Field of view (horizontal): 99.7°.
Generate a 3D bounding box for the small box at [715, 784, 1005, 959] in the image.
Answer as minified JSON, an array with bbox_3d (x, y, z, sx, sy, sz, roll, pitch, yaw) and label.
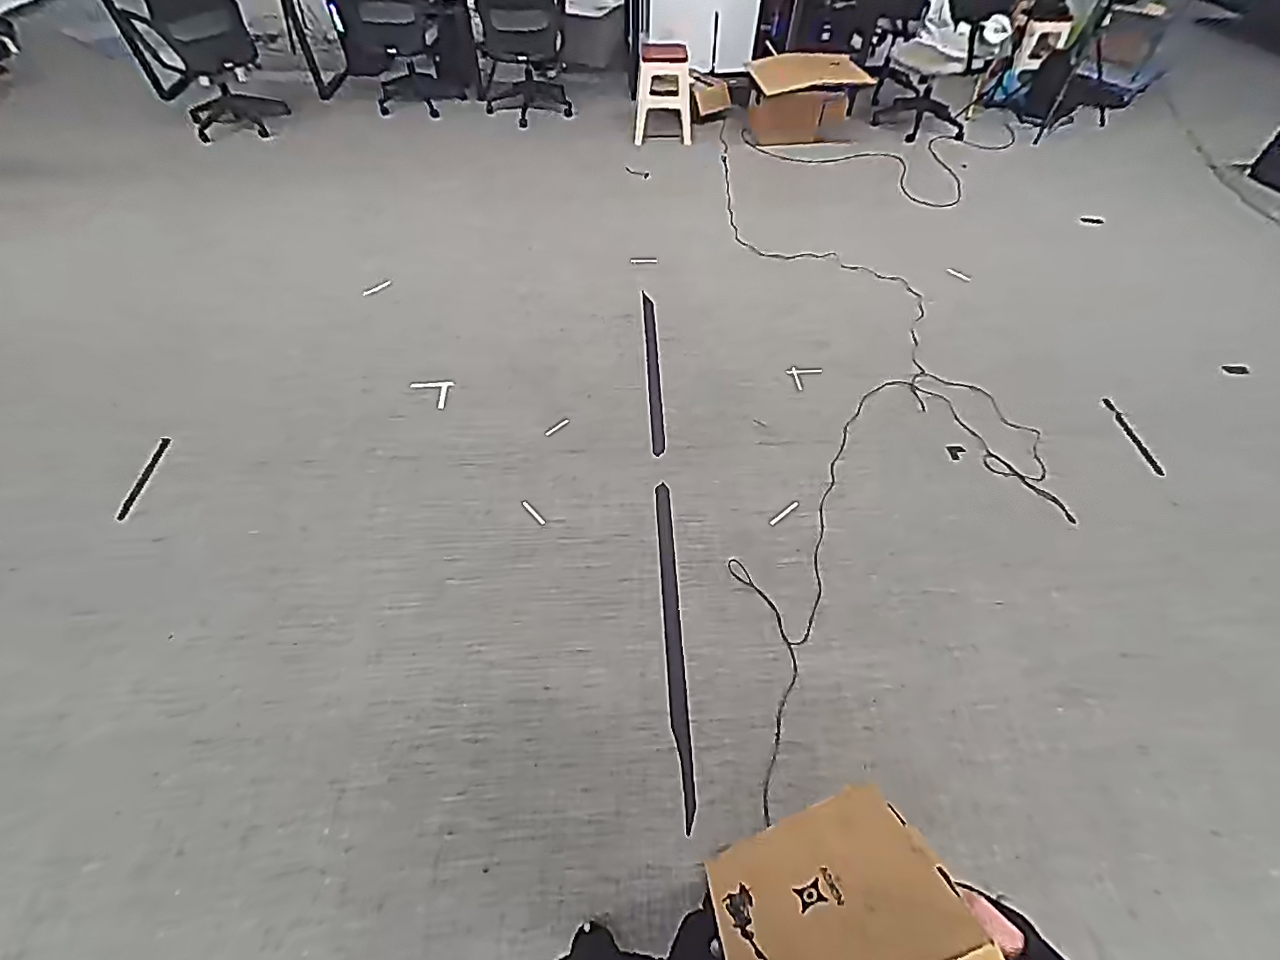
[{"bbox_3d":[0.185,0.403,0.441,0.179,0.168,0.176,-25,93,-1],"label":"small box"}]
